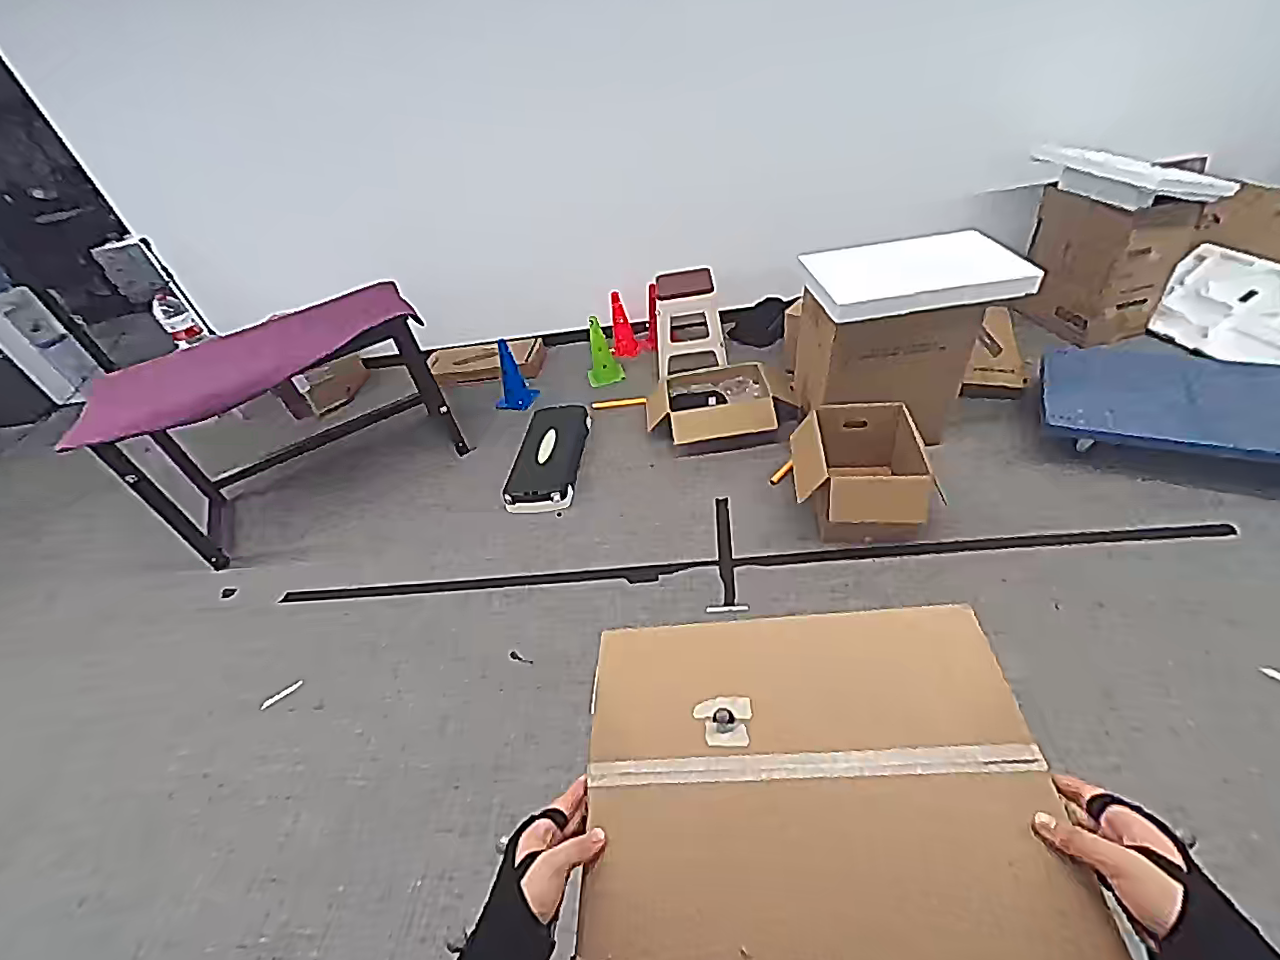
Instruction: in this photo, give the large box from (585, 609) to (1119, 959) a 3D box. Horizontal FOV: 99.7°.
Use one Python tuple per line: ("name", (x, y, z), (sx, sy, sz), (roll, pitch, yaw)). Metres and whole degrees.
("large box", (0.182, 0.378, 0.613), (0.408, 0.320, 0.320), (-8, 43, 9))
